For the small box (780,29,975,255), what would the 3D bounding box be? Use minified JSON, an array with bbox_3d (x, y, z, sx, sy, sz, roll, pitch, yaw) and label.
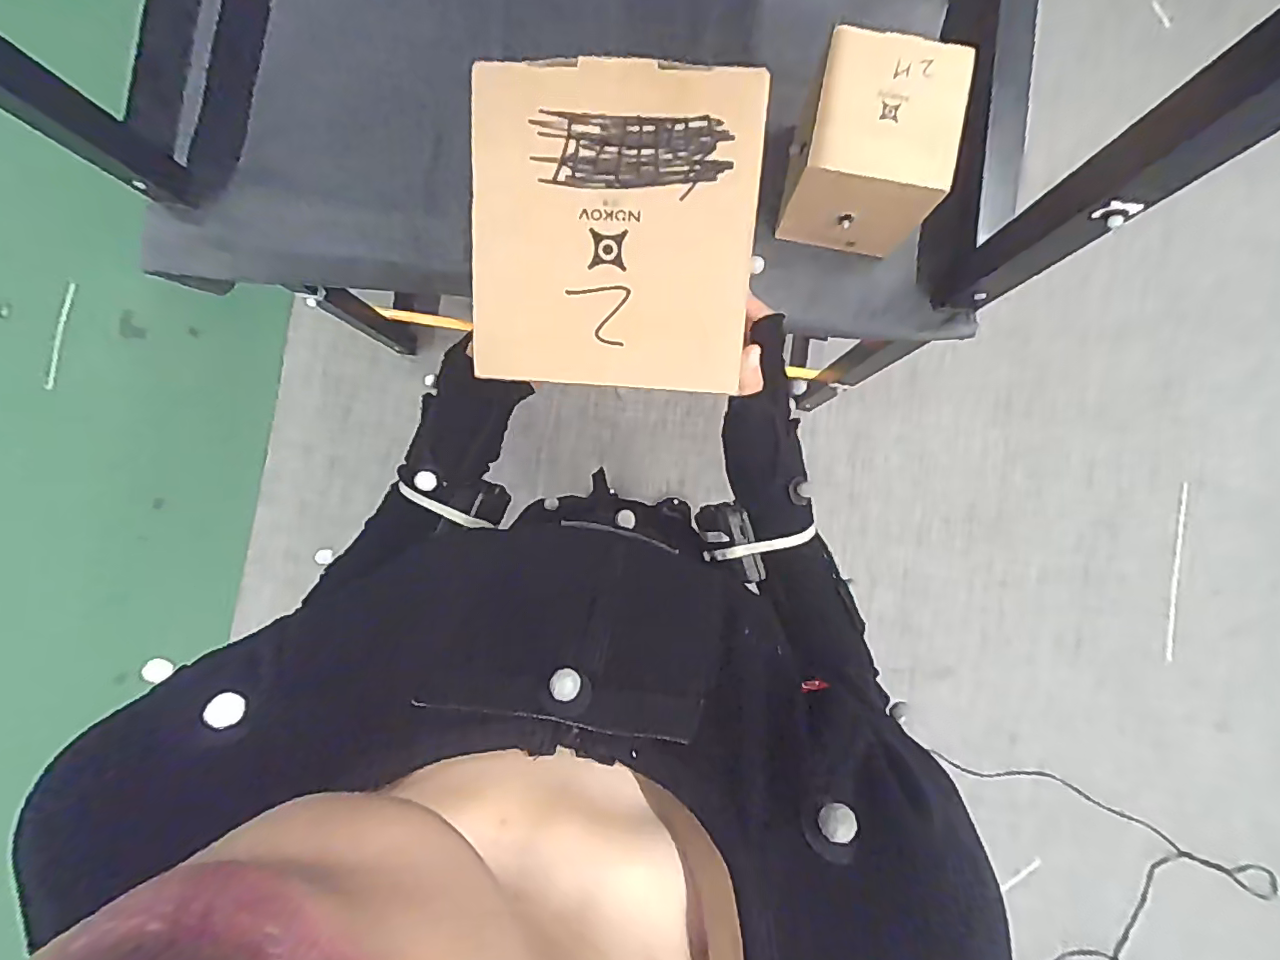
[{"bbox_3d":[0.291,-0.419,0.700,0.168,0.176,0.179,12,87,1],"label":"small box"}]
